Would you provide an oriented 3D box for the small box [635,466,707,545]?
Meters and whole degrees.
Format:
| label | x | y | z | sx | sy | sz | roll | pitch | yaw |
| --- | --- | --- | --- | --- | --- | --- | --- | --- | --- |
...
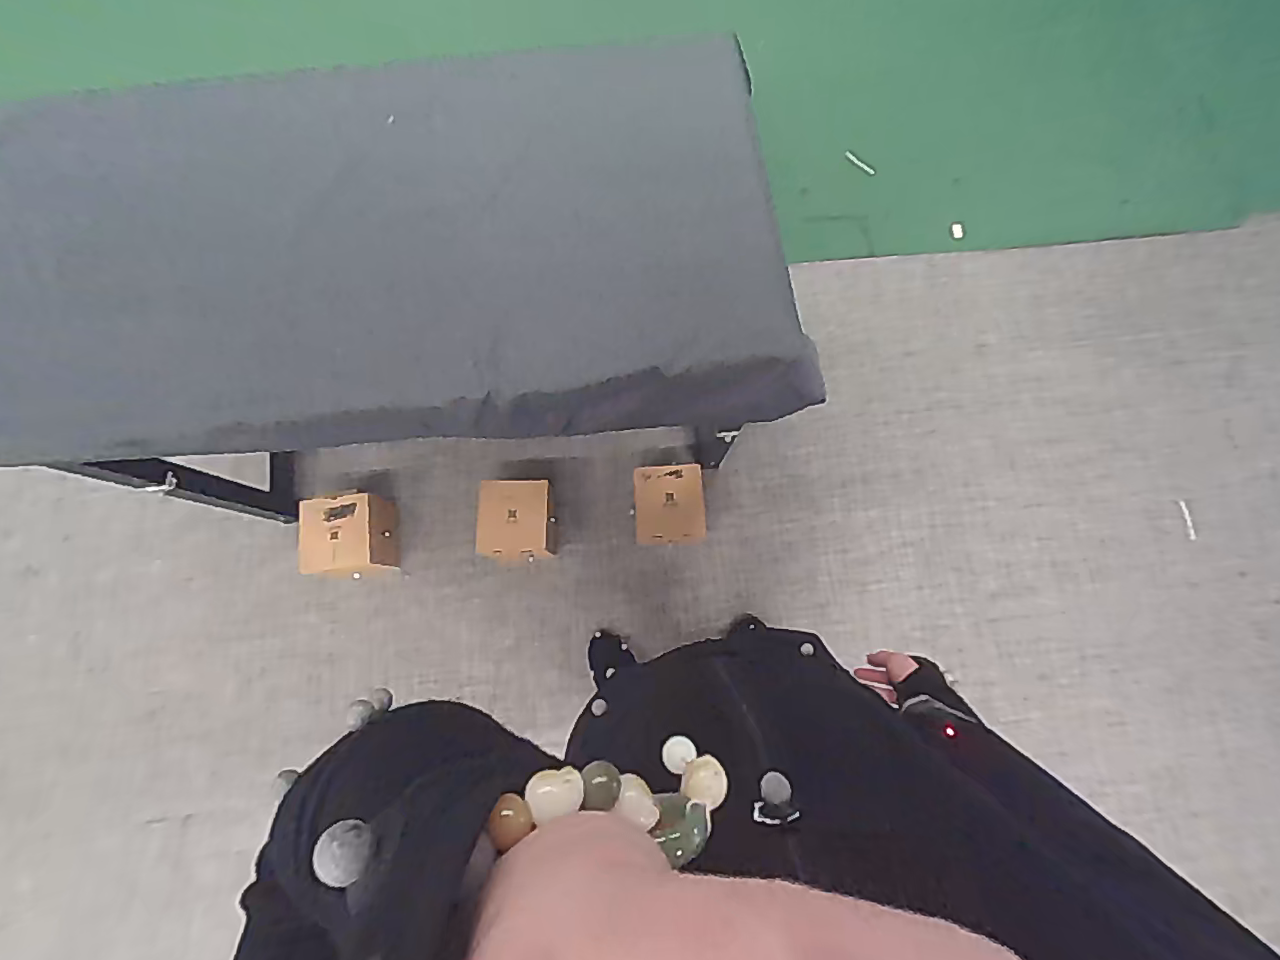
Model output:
| label | x | y | z | sx | sy | sz | roll | pitch | yaw |
| --- | --- | --- | --- | --- | --- | --- | --- | --- | --- |
| small box | 0.076 | 0.072 | 1.380 | 0.168 | 0.176 | 0.179 | -4 | 76 | -1 |

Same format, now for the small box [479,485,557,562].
| label | x | y | z | sx | sy | sz | roll | pitch | yaw |
| --- | --- | --- | --- | --- | --- | --- | --- | --- | --- |
| small box | -0.301 | 0.116 | 1.368 | 0.168 | 0.176 | 0.179 | -2 | 76 | -2 |

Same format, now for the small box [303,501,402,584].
| label | x | y | z | sx | sy | sz | roll | pitch | yaw |
| --- | --- | --- | --- | --- | --- | --- | --- | --- | --- |
| small box | -0.712 | 0.161 | 1.352 | 0.168 | 0.176 | 0.179 | -8 | 78 | -2 |
